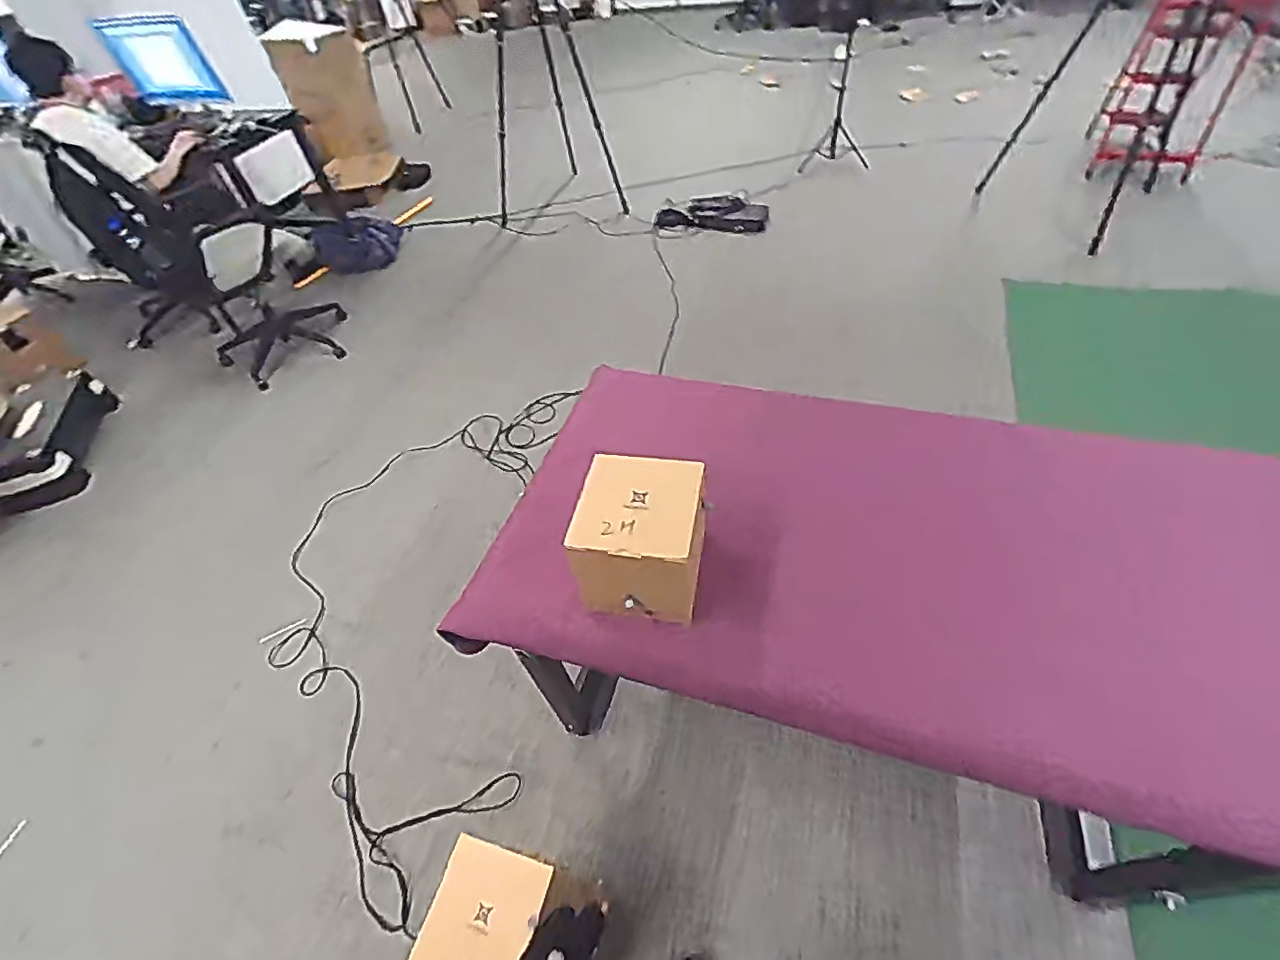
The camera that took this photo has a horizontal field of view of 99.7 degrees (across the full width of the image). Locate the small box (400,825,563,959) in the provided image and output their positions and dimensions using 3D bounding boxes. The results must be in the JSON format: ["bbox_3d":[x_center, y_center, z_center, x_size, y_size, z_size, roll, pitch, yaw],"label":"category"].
[{"bbox_3d":[-0.234,0.680,0.856,0.168,0.176,0.179,10,54,15],"label":"small box"}]

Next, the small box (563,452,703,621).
[{"bbox_3d":[-0.001,0.084,0.810,0.168,0.176,0.179,6,49,12],"label":"small box"}]
